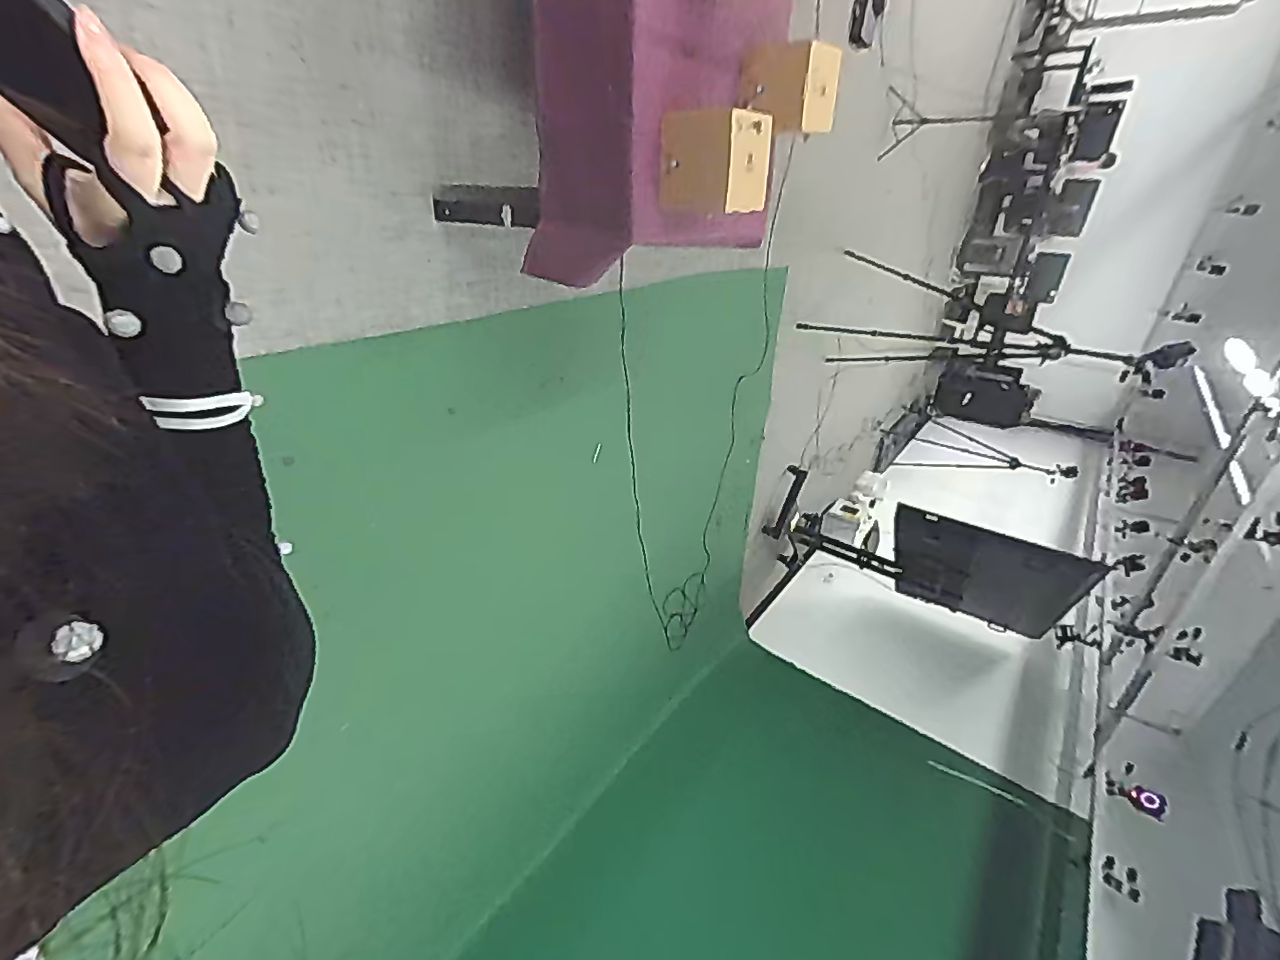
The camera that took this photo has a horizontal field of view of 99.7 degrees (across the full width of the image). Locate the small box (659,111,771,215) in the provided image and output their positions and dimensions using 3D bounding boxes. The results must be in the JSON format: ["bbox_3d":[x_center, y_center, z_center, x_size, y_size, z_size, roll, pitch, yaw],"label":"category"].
[{"bbox_3d":[0.153,-0.662,1.138,0.168,0.176,0.179,-31,132,-44],"label":"small box"}]

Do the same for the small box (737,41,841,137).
[{"bbox_3d":[0.347,-0.912,1.276,0.179,0.176,0.168,-32,132,-42],"label":"small box"}]
